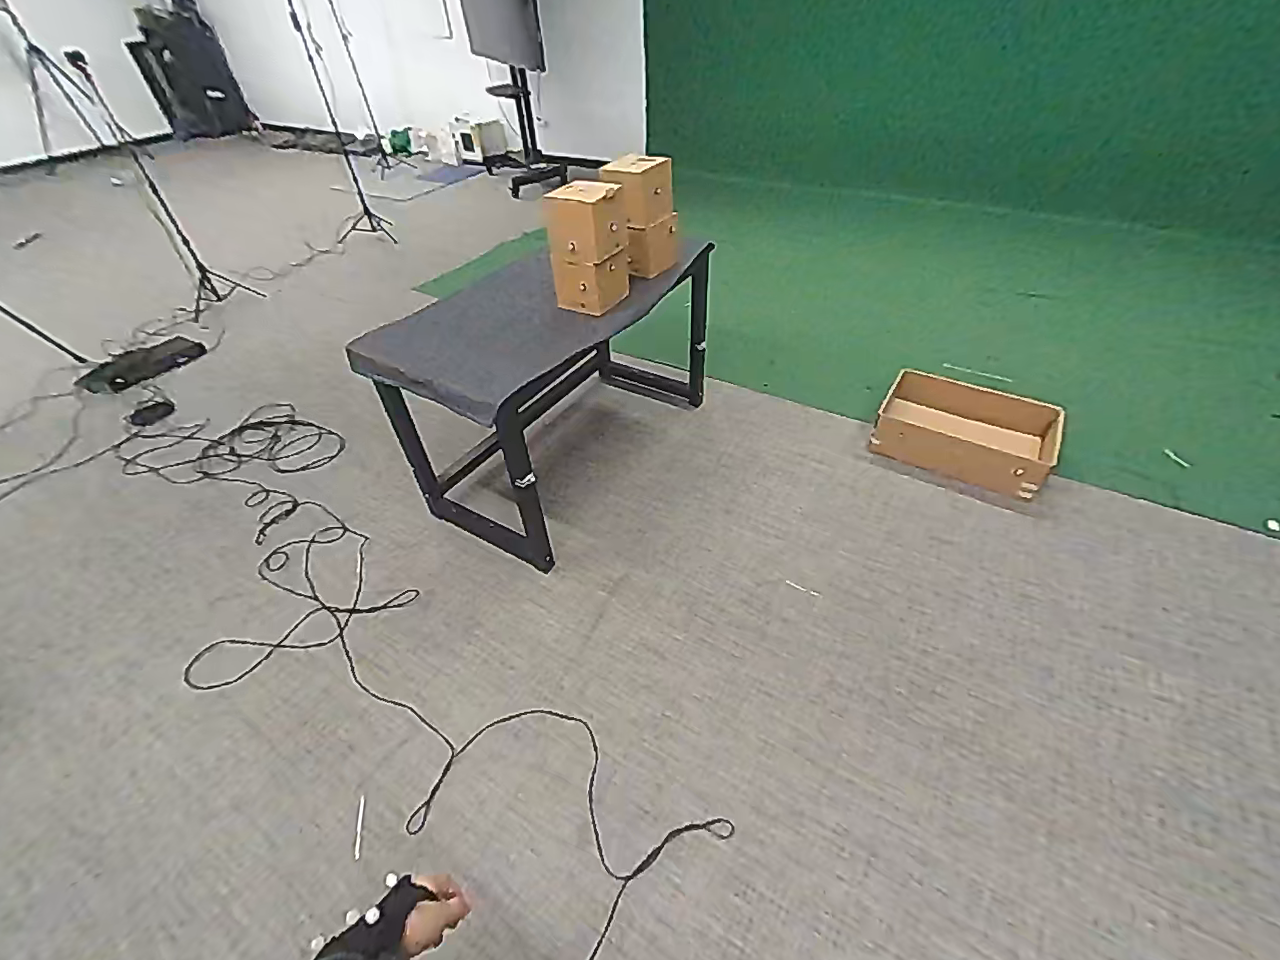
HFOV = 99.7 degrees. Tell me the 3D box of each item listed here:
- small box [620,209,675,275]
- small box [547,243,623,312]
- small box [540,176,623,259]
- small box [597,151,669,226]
[{"bbox_3d":[0.009,-0.837,1.877,0.168,0.176,0.179,24,51,28],"label":"small box"},{"bbox_3d":[-0.163,-0.648,1.692,0.168,0.176,0.179,21,48,23],"label":"small box"},{"bbox_3d":[-0.163,-0.762,1.574,0.179,0.176,0.168,21,49,24],"label":"small box"},{"bbox_3d":[-0.018,-0.953,1.763,0.168,0.176,0.179,23,51,27],"label":"small box"}]
